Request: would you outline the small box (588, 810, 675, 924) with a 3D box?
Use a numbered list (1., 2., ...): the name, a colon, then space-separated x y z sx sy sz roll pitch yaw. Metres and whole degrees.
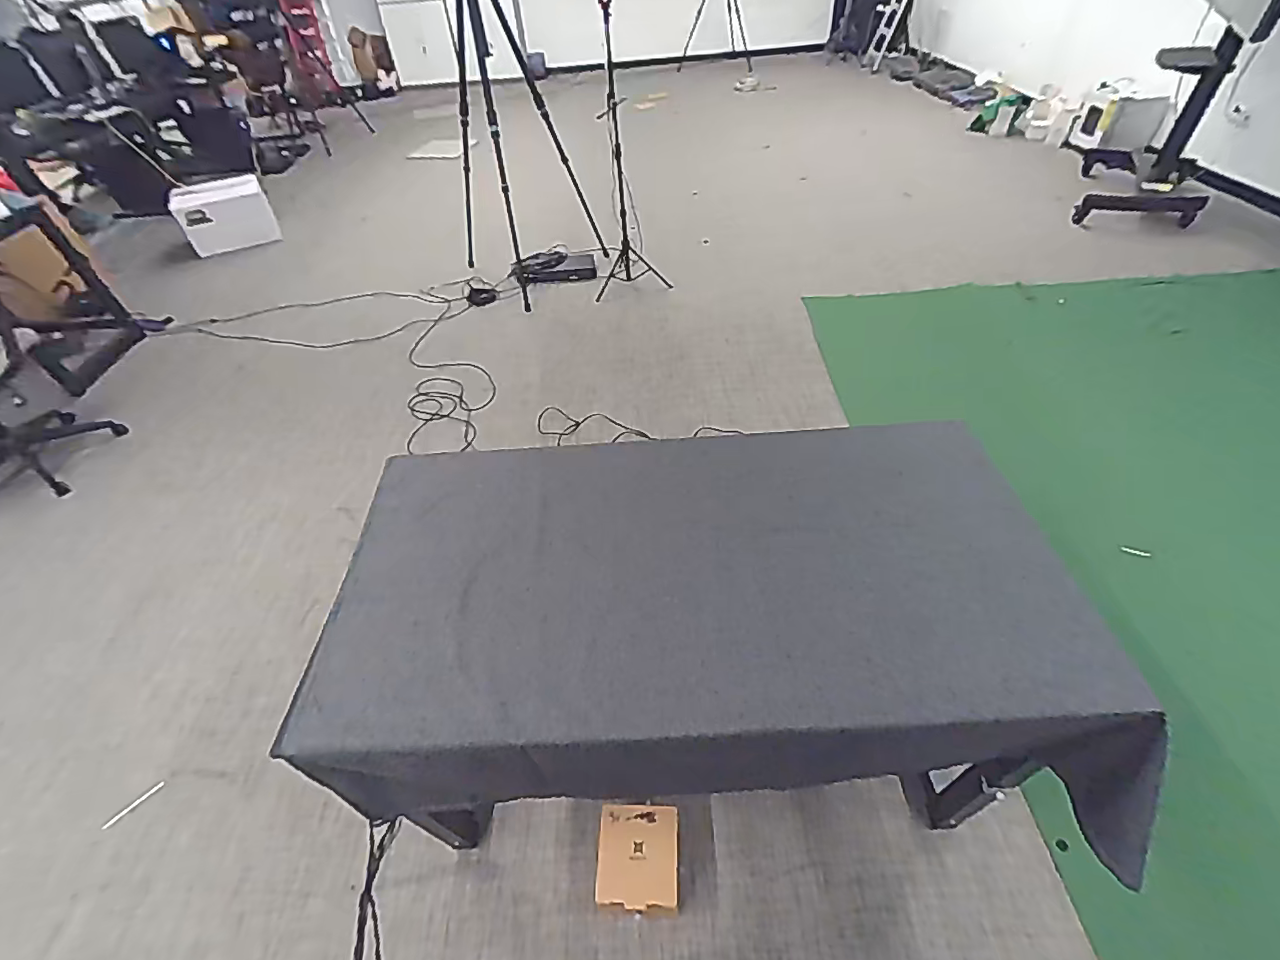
1. small box: -0.010 0.827 1.154 0.168 0.176 0.179 -1 46 5
